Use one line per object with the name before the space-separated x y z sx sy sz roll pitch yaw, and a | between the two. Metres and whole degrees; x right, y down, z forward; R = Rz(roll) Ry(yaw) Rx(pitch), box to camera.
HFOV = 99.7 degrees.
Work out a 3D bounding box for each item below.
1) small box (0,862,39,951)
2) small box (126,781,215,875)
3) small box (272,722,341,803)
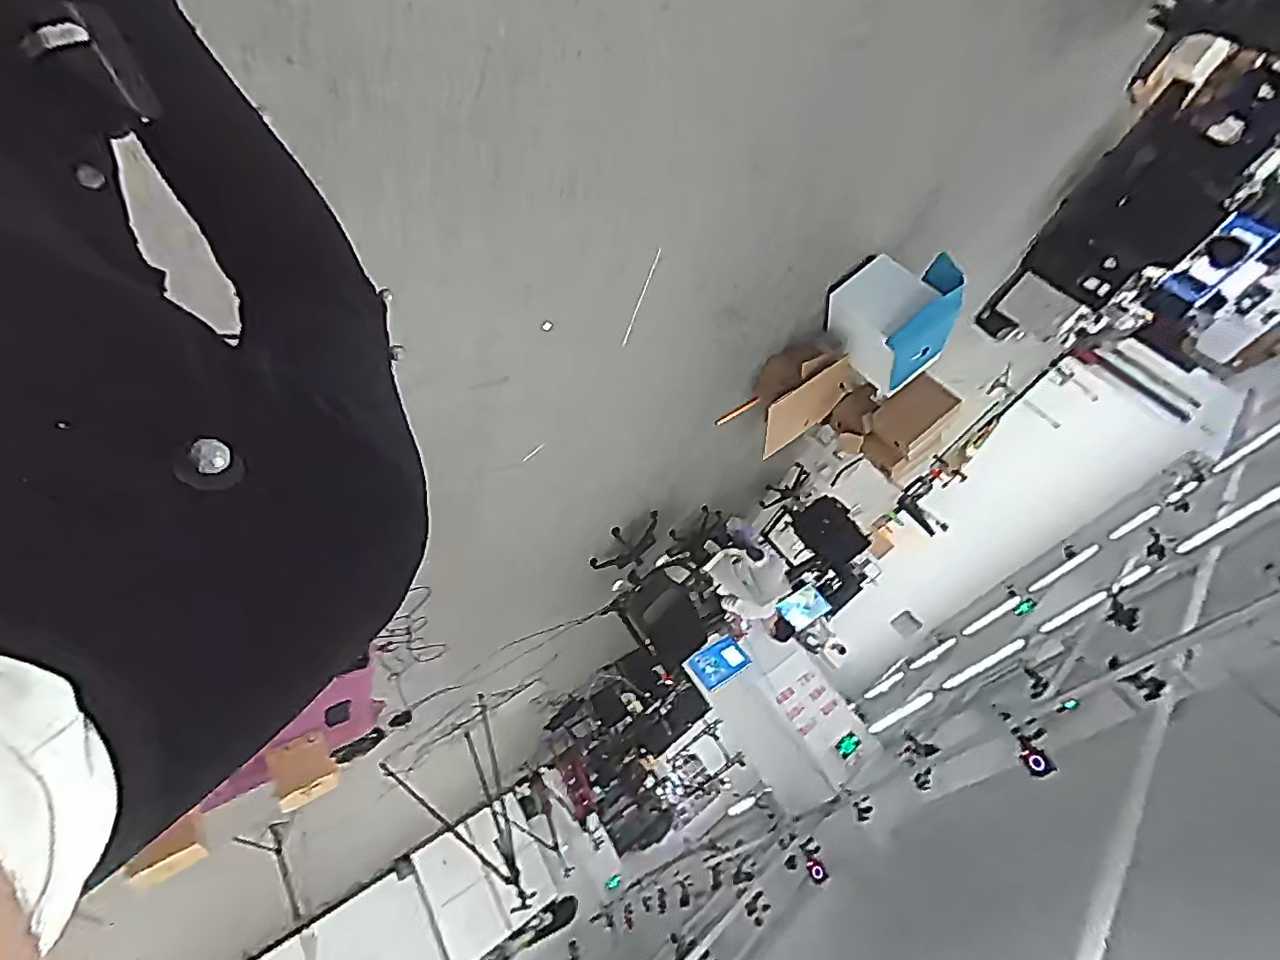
small box | -1.729 1.146 1.418 0.168 0.176 0.179 -17 148 -39
small box | -1.433 1.059 1.655 0.168 0.176 0.179 -17 148 -37
small box | -1.144 0.961 1.856 0.168 0.176 0.179 -16 148 -37
